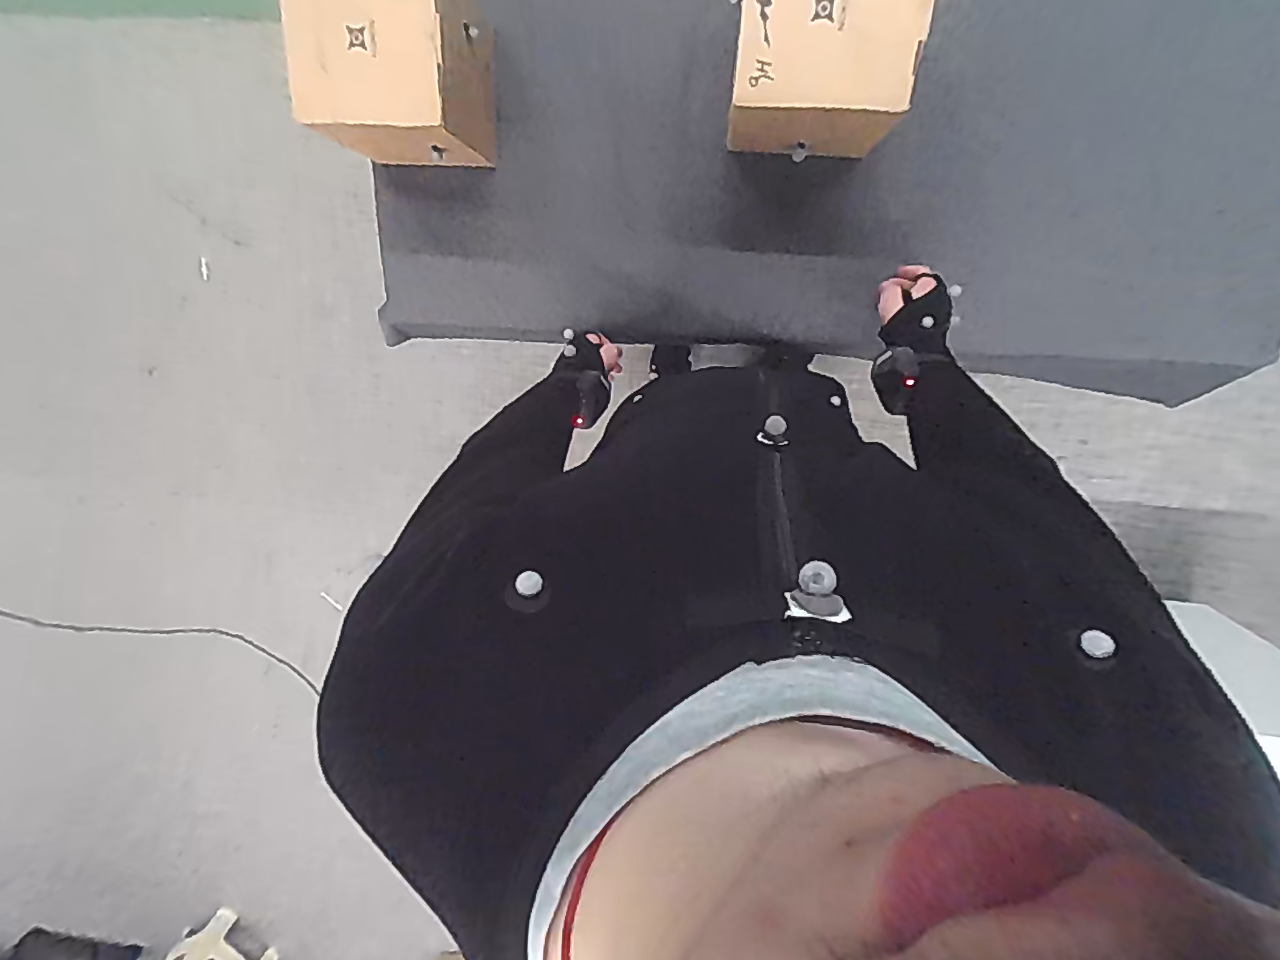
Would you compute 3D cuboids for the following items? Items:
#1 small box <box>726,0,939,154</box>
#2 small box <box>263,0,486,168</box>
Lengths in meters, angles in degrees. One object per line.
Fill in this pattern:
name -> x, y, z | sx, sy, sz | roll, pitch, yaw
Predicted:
small box -> 0.195, -0.469, 0.582 | 0.179, 0.176, 0.168 | 4, 107, 2
small box -> -0.285, -0.472, 0.618 | 0.179, 0.176, 0.168 | 3, 105, 5
